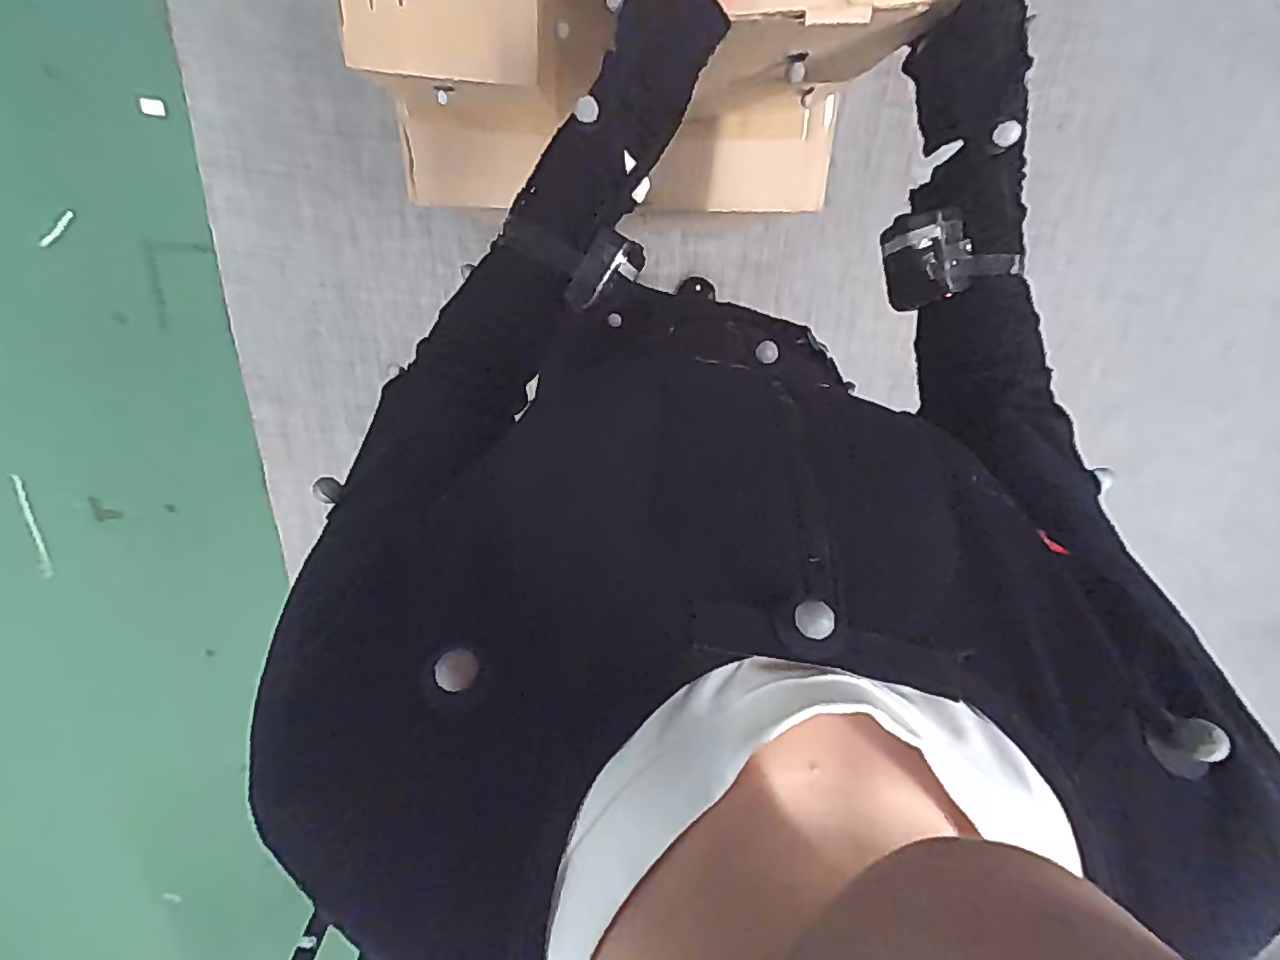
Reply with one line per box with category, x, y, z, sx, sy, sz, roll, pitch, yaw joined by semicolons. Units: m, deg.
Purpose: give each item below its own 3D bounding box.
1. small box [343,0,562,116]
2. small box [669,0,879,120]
small box;-0.176;-0.482;0.542;0.179;0.176;0.168;3;115;-3
small box;0.124;-0.488;0.550;0.179;0.176;0.168;-6;113;2
